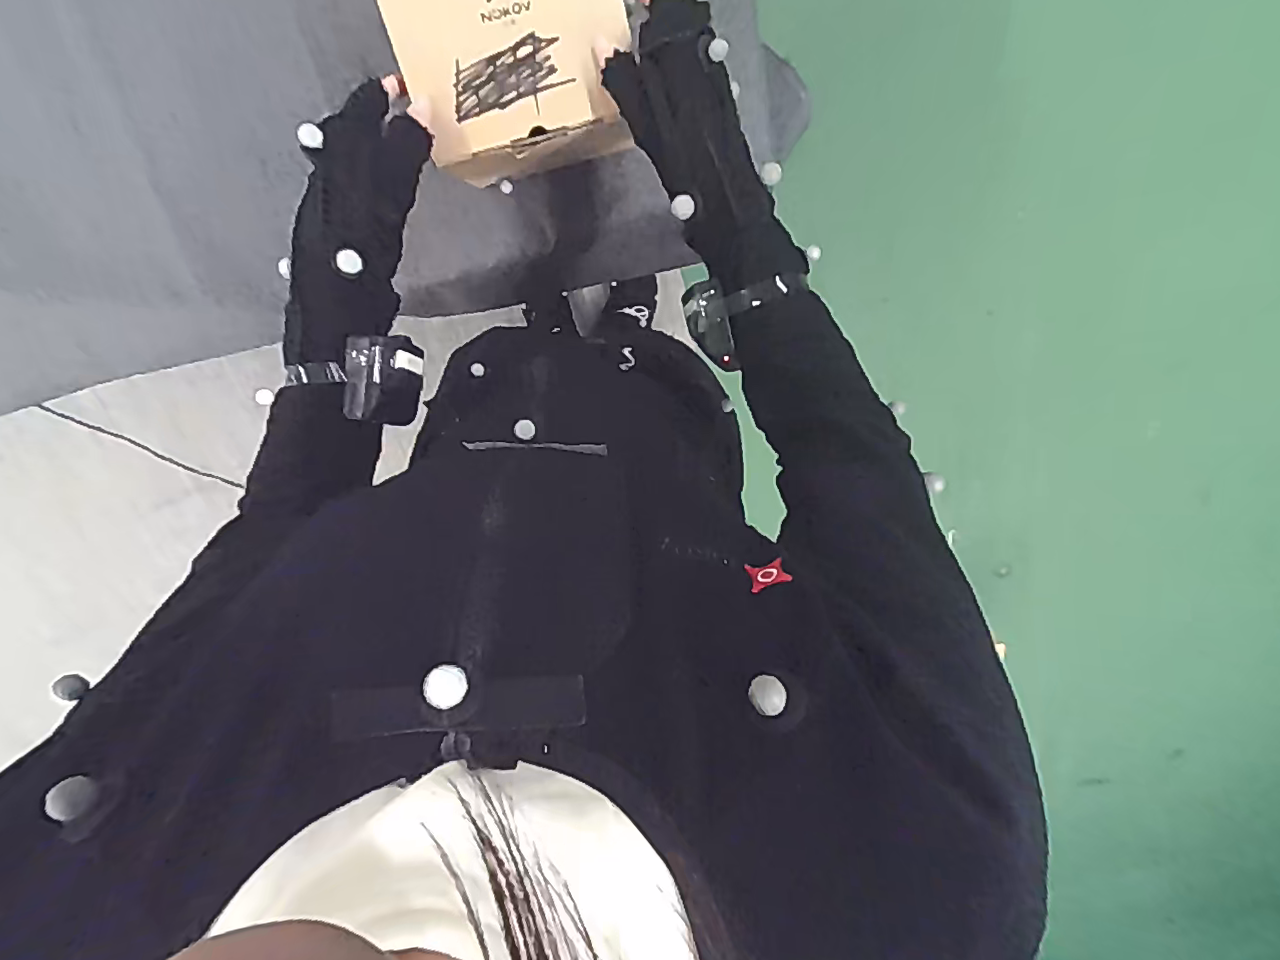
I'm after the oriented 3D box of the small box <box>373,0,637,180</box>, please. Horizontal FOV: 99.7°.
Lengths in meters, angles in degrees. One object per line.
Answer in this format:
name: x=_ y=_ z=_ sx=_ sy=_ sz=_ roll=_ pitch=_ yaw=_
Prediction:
small box: x=-0.102 y=-0.359 z=0.440 sx=0.168 sy=0.176 sz=0.179 roll=-14 pitch=113 yaw=1
